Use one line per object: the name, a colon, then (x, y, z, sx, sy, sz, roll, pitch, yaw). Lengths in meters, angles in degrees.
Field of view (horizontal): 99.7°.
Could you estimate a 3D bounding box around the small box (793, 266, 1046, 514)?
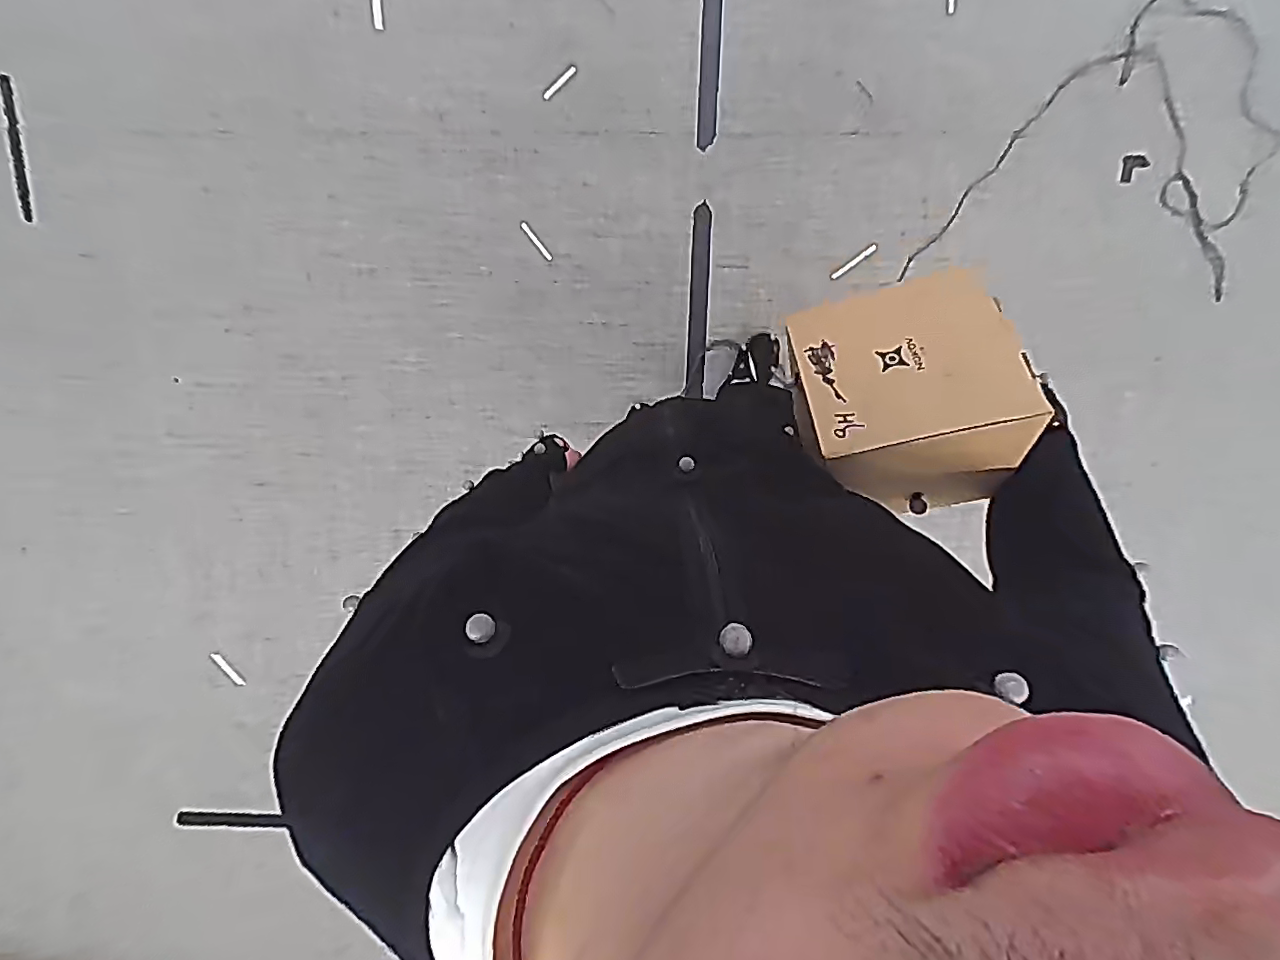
small box: (0.262, -0.079, 0.556, 0.179, 0.176, 0.168, -12, 62, 14)
